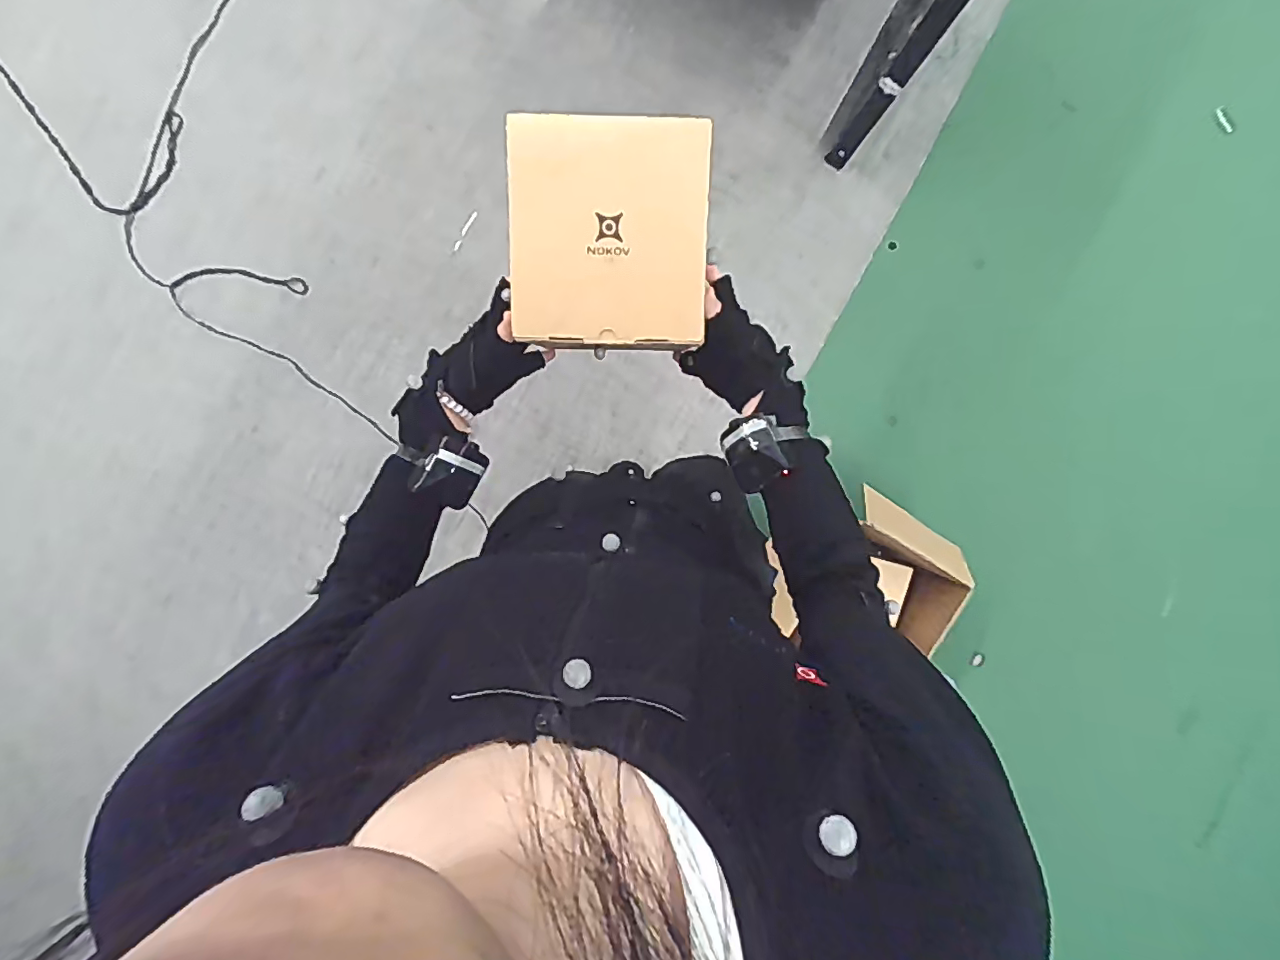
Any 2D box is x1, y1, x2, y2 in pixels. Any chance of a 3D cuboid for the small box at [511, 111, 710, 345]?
[{"bbox_3d":[-0.030,-0.228,0.534,0.168,0.176,0.179,1,104,-2],"label":"small box"}]
